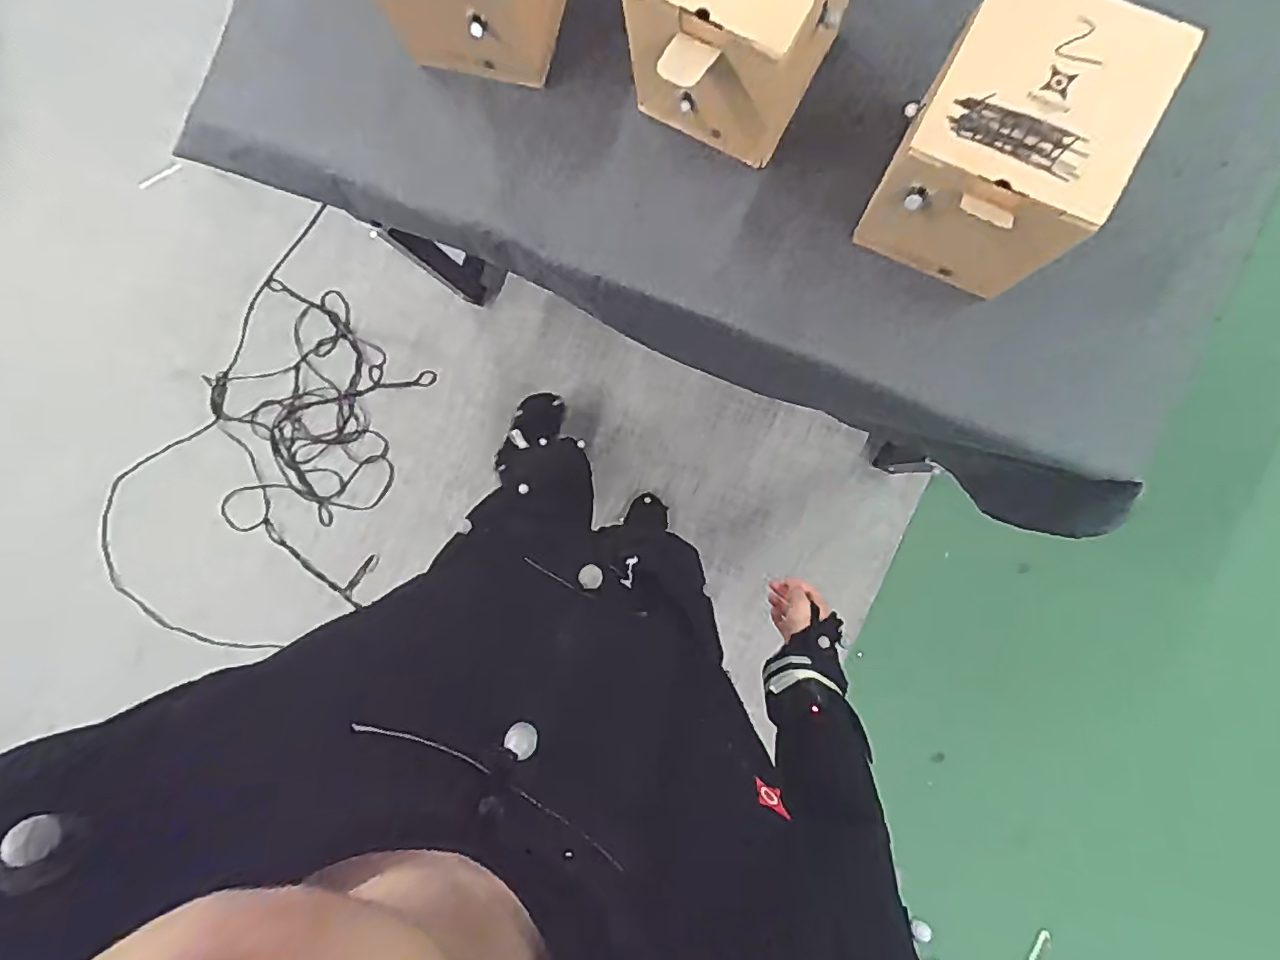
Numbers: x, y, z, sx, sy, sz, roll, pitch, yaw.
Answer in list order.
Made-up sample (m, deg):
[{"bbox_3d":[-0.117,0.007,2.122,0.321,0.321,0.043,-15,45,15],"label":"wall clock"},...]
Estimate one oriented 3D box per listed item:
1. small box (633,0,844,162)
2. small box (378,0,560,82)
[{"bbox_3d":[0.101,-0.466,0.532,0.168,0.176,0.179,29,93,4],"label":"small box"},{"bbox_3d":[-0.181,-0.565,0.559,0.168,0.176,0.179,15,90,4],"label":"small box"}]
